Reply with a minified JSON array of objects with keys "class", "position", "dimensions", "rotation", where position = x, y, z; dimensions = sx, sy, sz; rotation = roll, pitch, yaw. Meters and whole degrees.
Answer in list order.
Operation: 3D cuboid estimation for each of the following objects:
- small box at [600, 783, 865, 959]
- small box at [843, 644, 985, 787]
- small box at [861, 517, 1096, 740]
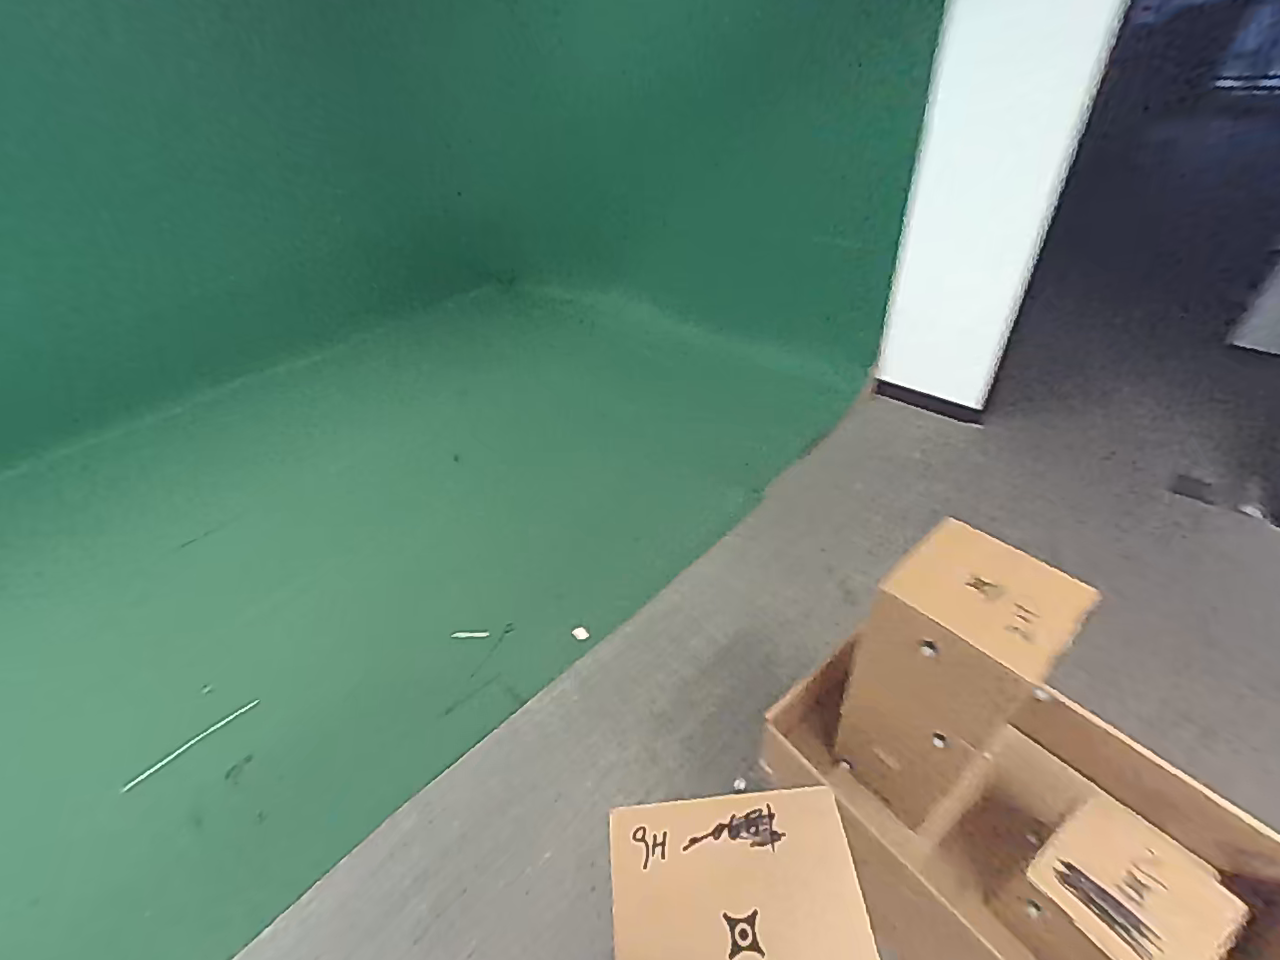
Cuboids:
[{"class":"small box","position":[0.063,0.345,0.406],"dimensions":[0.168,0.176,0.179],"rotation":[-6,52,-2]},{"class":"small box","position":[0.426,0.307,0.797],"dimensions":[0.168,0.176,0.179],"rotation":[-32,48,-24]},{"class":"small box","position":[0.409,0.186,0.685],"dimensions":[0.168,0.176,0.179],"rotation":[-32,48,-25]}]
